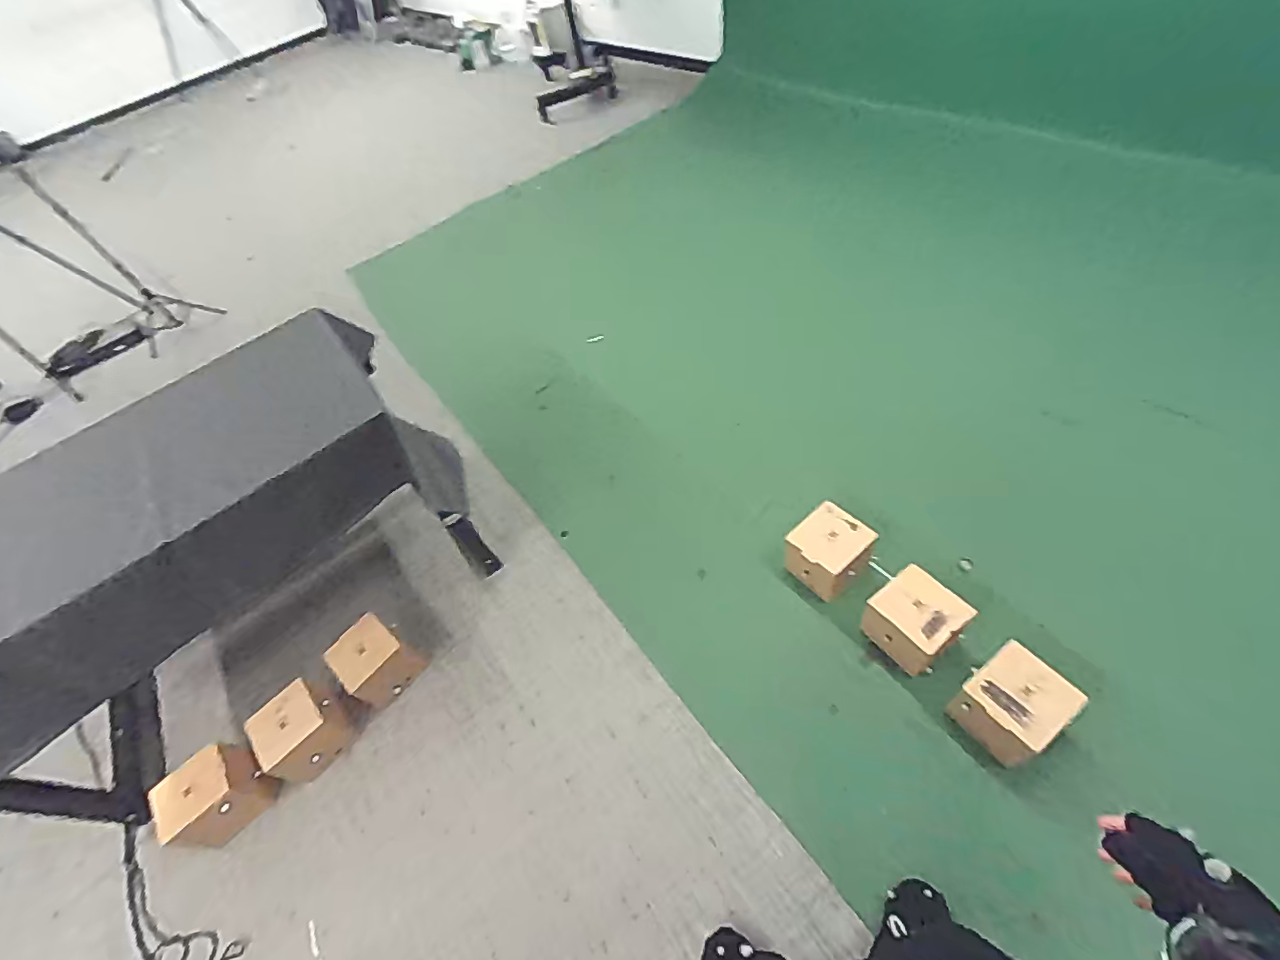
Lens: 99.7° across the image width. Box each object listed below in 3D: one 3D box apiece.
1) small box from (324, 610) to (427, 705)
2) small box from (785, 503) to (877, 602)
[{"bbox_3d":[-0.753,0.513,1.551,0.179,0.176,0.168,30,65,31],"label":"small box"},{"bbox_3d":[0.521,0.203,1.489,0.179,0.176,0.168,-38,54,-14],"label":"small box"}]
